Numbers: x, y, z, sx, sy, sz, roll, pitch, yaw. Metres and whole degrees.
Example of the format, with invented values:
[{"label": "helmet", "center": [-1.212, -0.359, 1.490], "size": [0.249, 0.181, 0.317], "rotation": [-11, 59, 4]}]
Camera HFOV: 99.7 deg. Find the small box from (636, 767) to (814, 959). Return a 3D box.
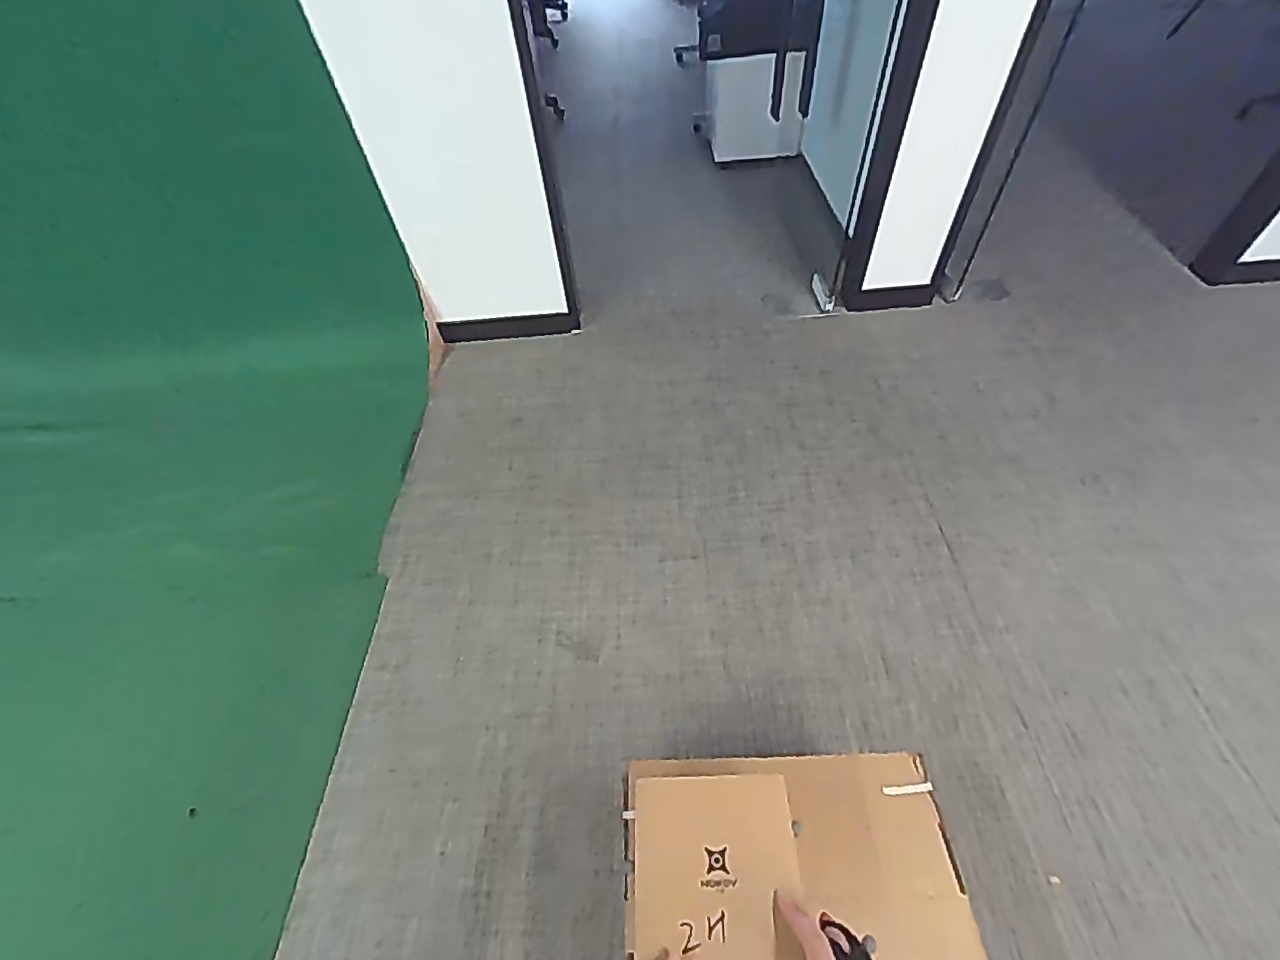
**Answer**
[{"label": "small box", "center": [0.083, 0.440, 0.602], "size": [0.168, 0.176, 0.179], "rotation": [-4, 47, 3]}]
